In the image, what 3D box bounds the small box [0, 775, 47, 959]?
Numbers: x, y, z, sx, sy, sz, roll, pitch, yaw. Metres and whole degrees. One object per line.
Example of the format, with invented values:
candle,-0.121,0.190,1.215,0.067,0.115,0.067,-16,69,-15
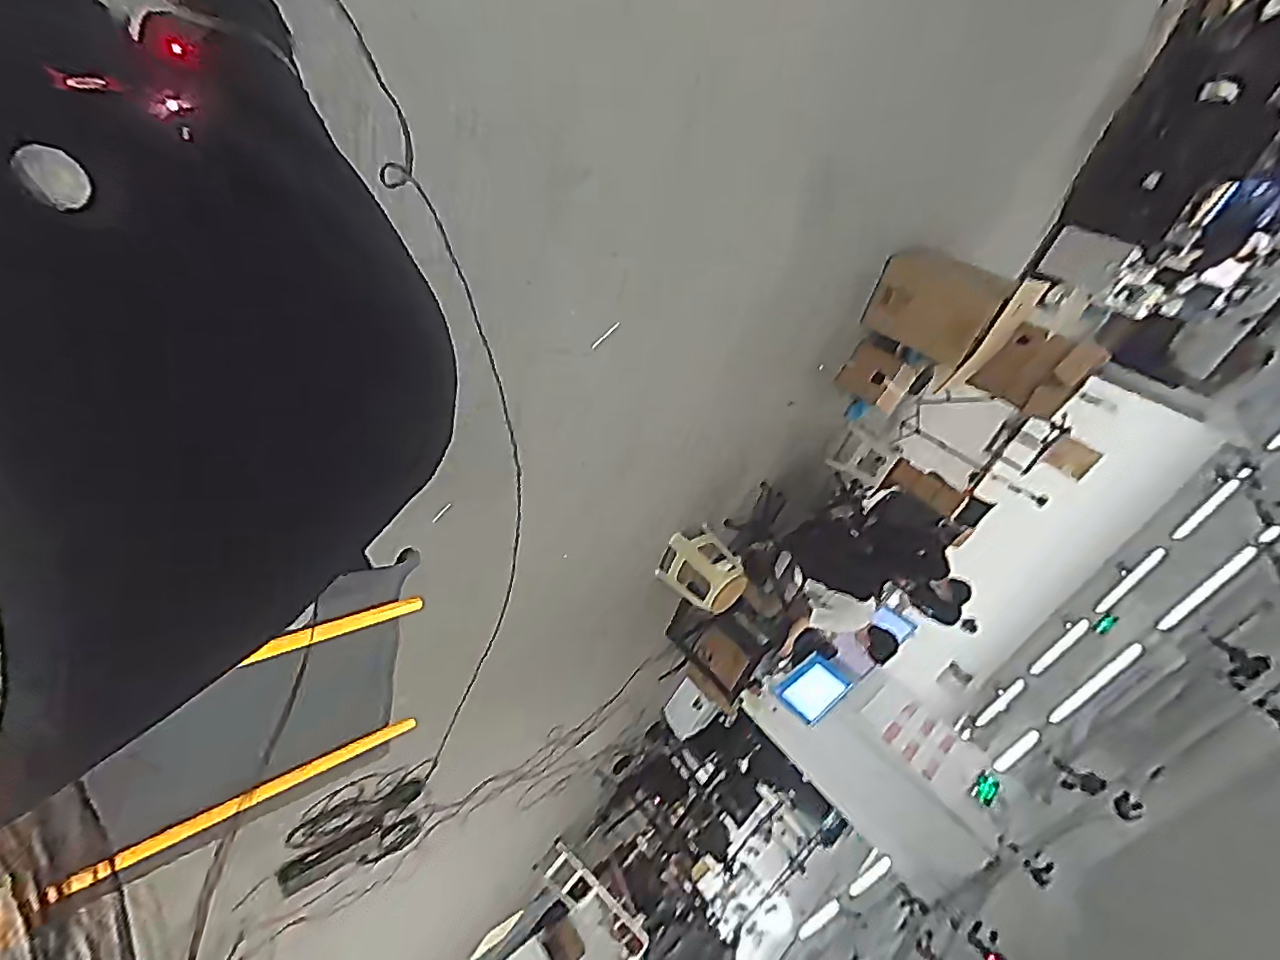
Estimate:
small box,-0.876,0.509,0.668,0.168,0.176,0.179,-15,136,-44
